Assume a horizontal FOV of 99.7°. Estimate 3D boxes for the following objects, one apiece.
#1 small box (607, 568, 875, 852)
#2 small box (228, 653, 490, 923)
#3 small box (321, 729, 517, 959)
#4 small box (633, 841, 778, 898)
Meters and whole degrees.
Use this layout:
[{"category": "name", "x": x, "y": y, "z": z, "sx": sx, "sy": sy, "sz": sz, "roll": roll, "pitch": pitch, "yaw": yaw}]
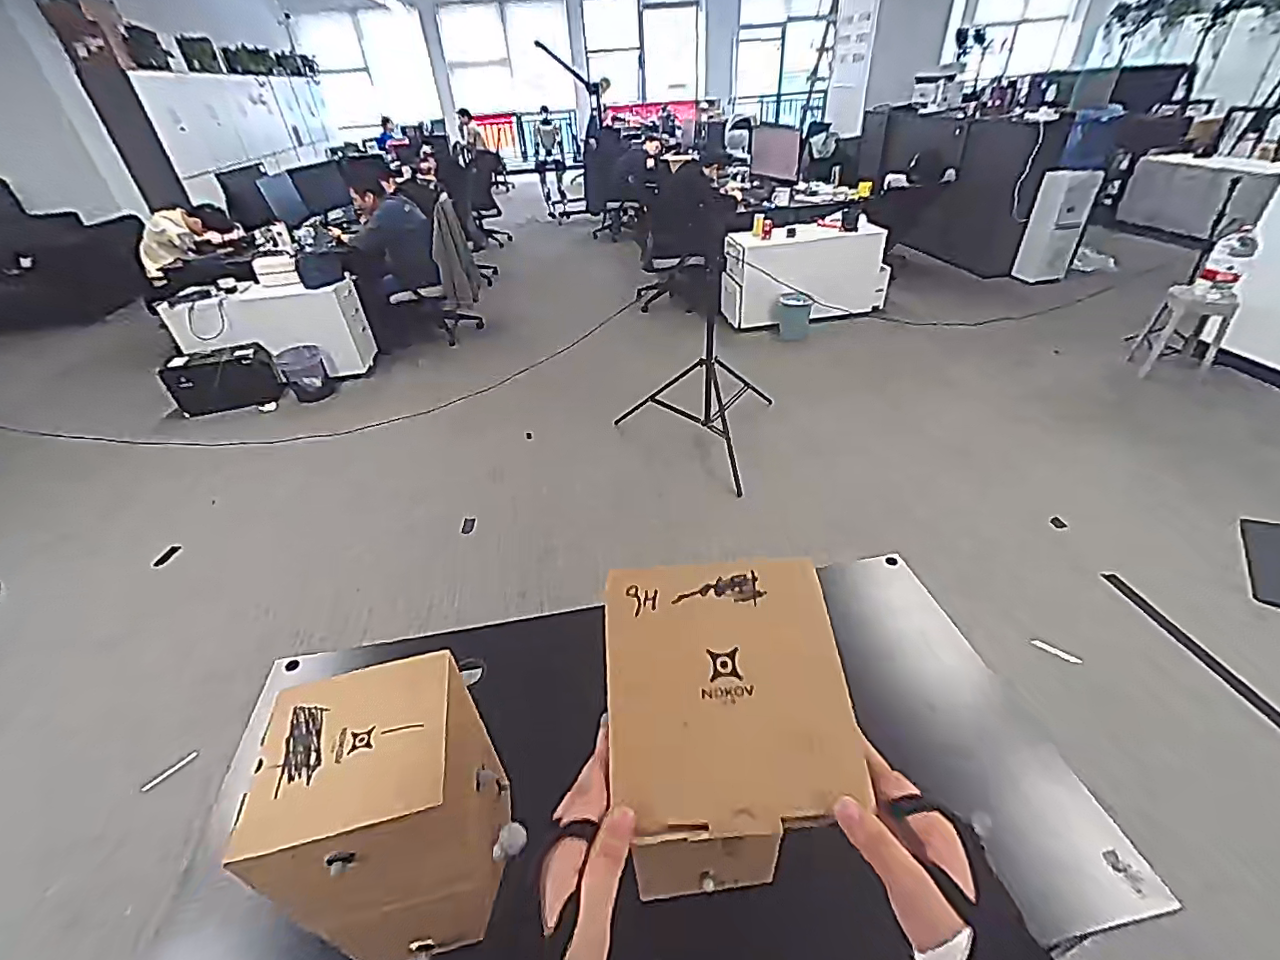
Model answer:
[{"category": "small box", "x": 0.064, "y": 0.189, "z": 0.442, "sx": 0.168, "sy": 0.176, "sz": 0.179, "roll": -4, "pitch": 57, "yaw": 0}, {"category": "small box", "x": -0.262, "y": 0.314, "z": 0.556, "sx": 0.179, "sy": 0.176, "sz": 0.168, "roll": -11, "pitch": 37, "yaw": -9}, {"category": "small box", "x": -0.251, "y": 0.443, "z": 0.657, "sx": 0.168, "sy": 0.176, "sz": 0.179, "roll": -12, "pitch": 38, "yaw": -8}, {"category": "small box", "x": 0.068, "y": 0.393, "z": 0.691, "sx": 0.168, "sy": 0.176, "sz": 0.179, "roll": -6, "pitch": 36, "yaw": -3}]
